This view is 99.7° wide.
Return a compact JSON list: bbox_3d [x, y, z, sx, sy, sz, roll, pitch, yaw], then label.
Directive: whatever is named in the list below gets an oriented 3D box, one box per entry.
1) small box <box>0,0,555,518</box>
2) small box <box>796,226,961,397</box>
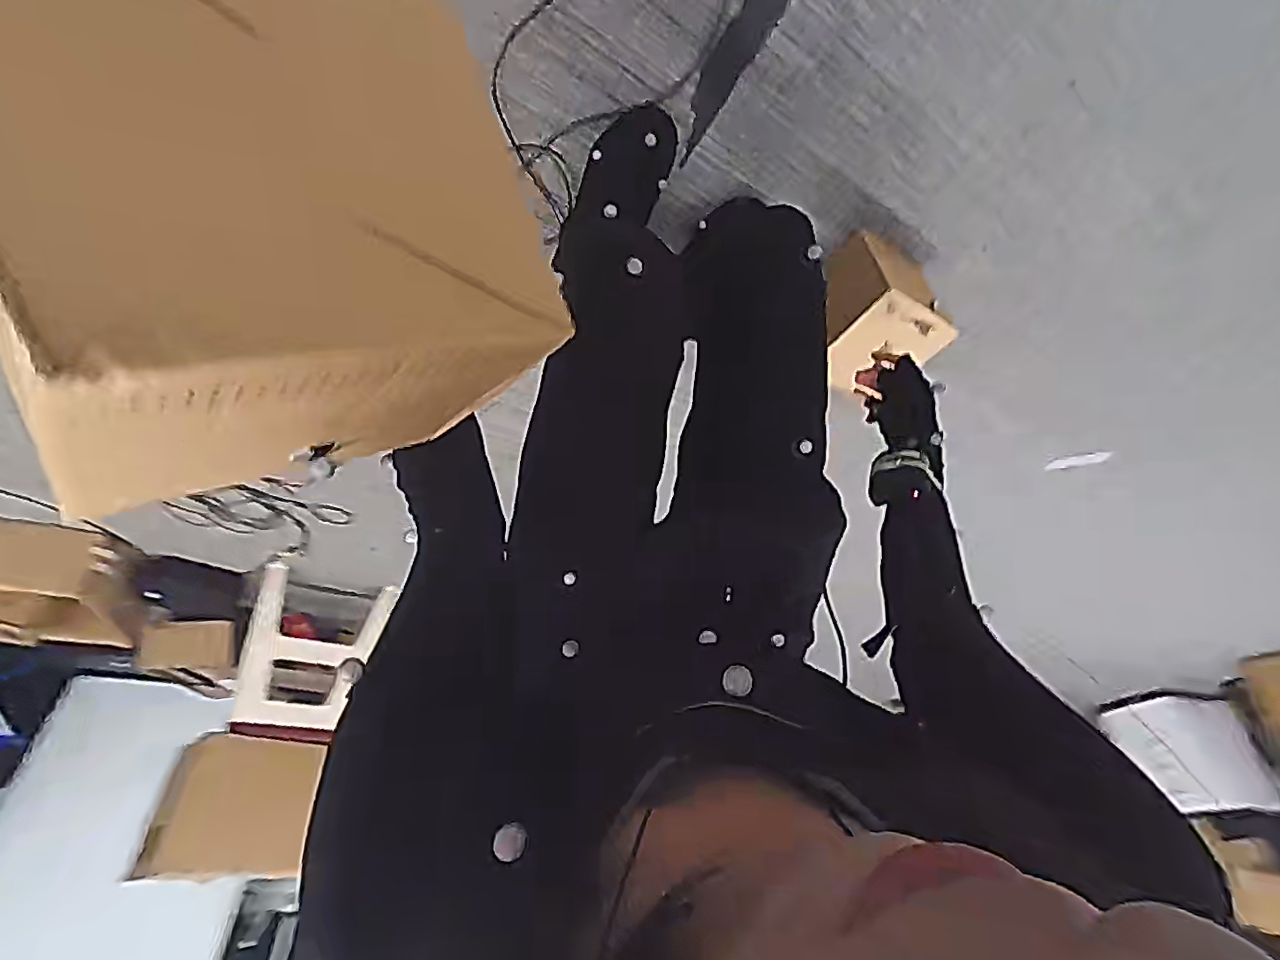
[{"bbox_3d":[-0.166,-0.098,0.234,0.176,0.168,0.179,-21,179,43],"label":"small box"},{"bbox_3d":[0.381,-0.276,0.899,0.168,0.176,0.179,18,140,-25],"label":"small box"}]
